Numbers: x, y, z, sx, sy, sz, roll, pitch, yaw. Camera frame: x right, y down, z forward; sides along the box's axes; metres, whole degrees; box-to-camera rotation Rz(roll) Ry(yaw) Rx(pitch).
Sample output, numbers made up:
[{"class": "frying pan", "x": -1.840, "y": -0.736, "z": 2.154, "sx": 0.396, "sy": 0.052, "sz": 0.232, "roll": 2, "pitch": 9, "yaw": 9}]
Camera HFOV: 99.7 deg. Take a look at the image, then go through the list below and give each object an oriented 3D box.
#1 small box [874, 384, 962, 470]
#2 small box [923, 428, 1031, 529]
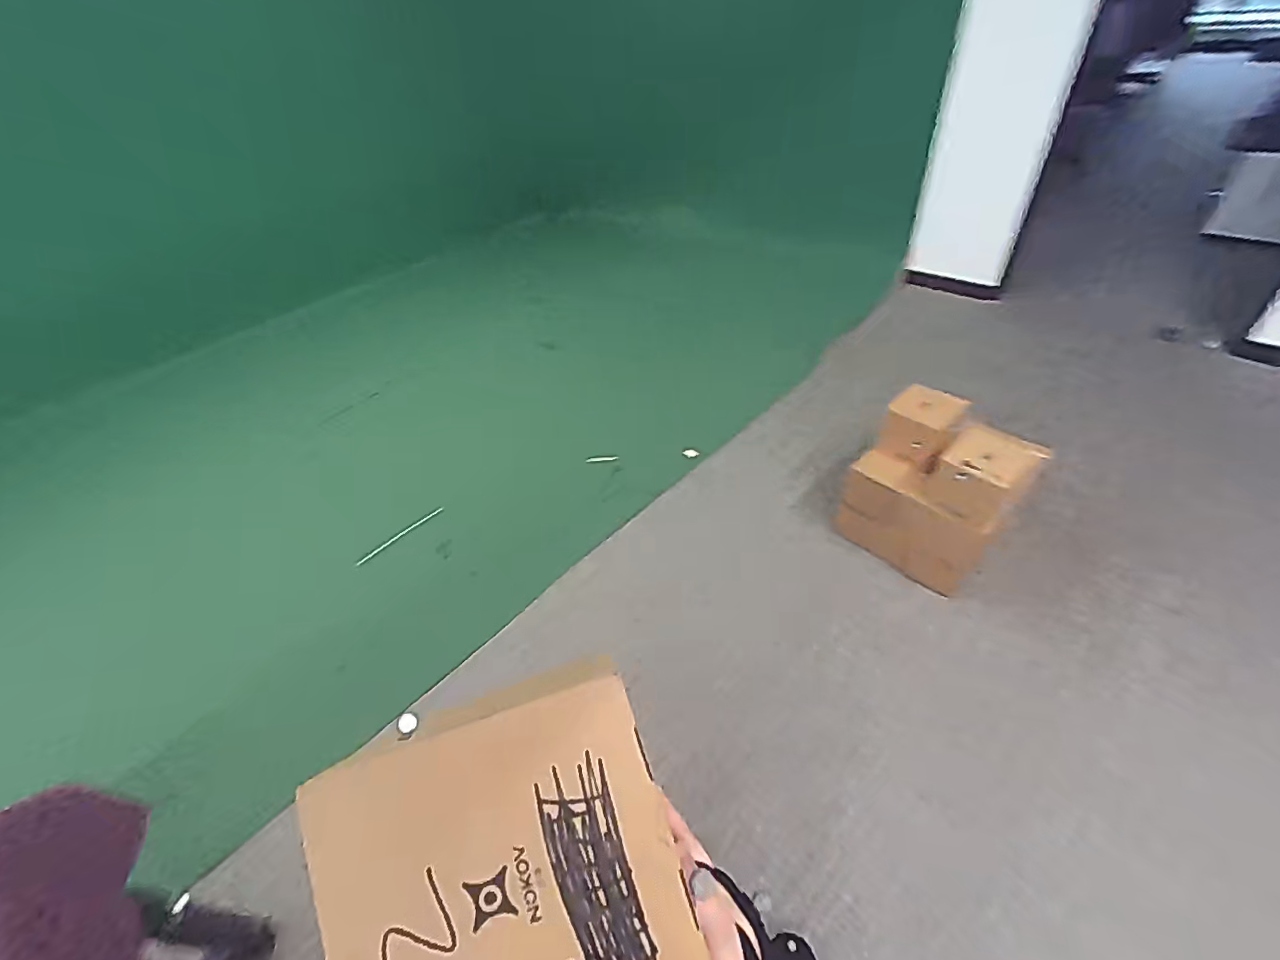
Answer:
[{"class": "small box", "x": 0.832, "y": -0.158, "z": 1.636, "sx": 0.179, "sy": 0.176, "sz": 0.168, "roll": -34, "pitch": 49, "yaw": -27}, {"class": "small box", "x": 0.898, "y": -0.004, "z": 1.456, "sx": 0.179, "sy": 0.176, "sz": 0.168, "roll": -33, "pitch": 49, "yaw": -25}]
